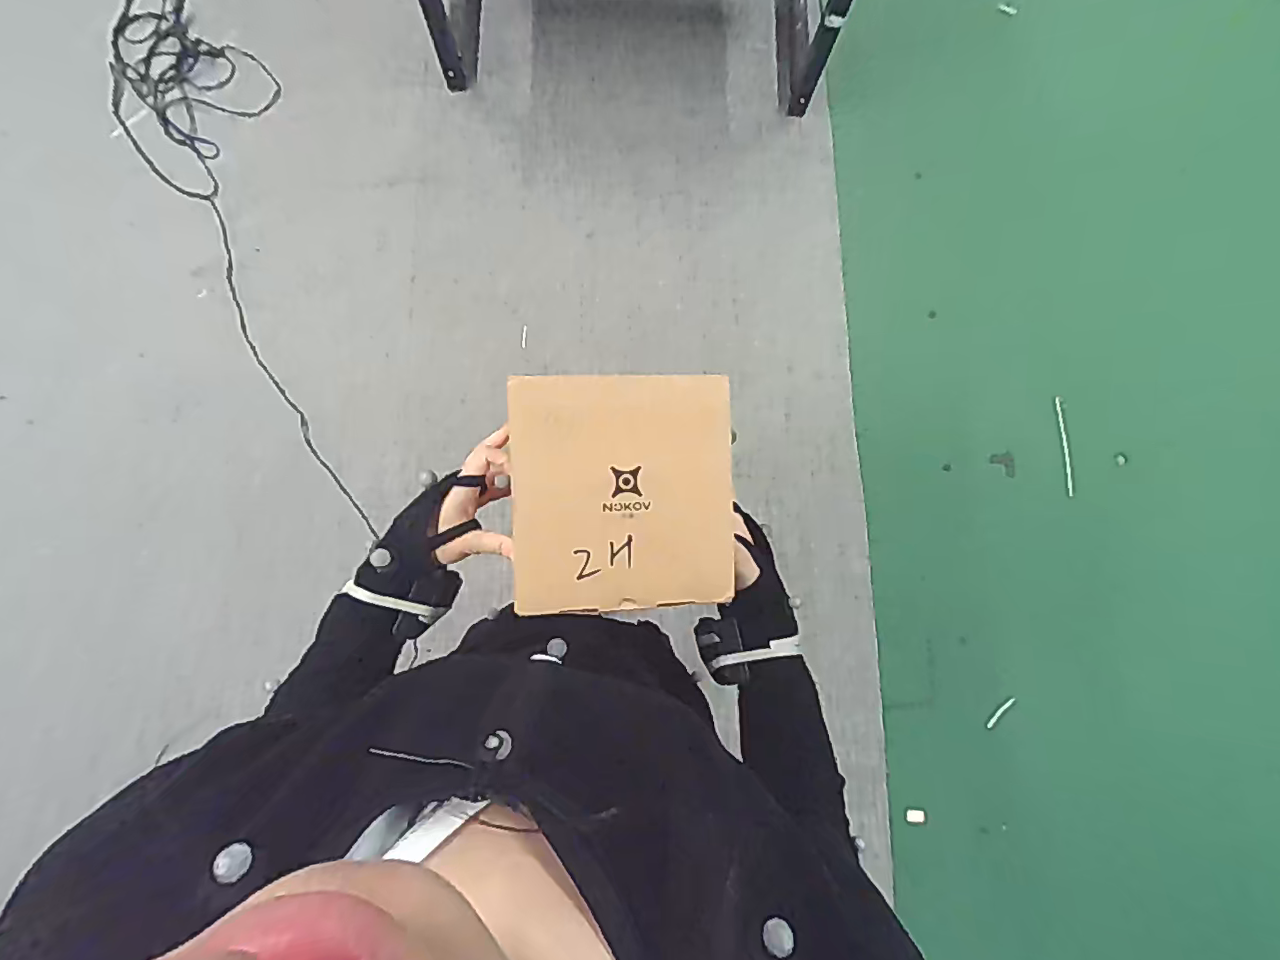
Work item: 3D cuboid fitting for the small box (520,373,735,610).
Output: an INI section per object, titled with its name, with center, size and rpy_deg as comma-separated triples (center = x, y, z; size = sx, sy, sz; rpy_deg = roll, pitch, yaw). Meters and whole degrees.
[small box]
center = -0.020, 0.006, 0.484
size = 0.168, 0.176, 0.179
rpy_deg = -1, 93, -8
